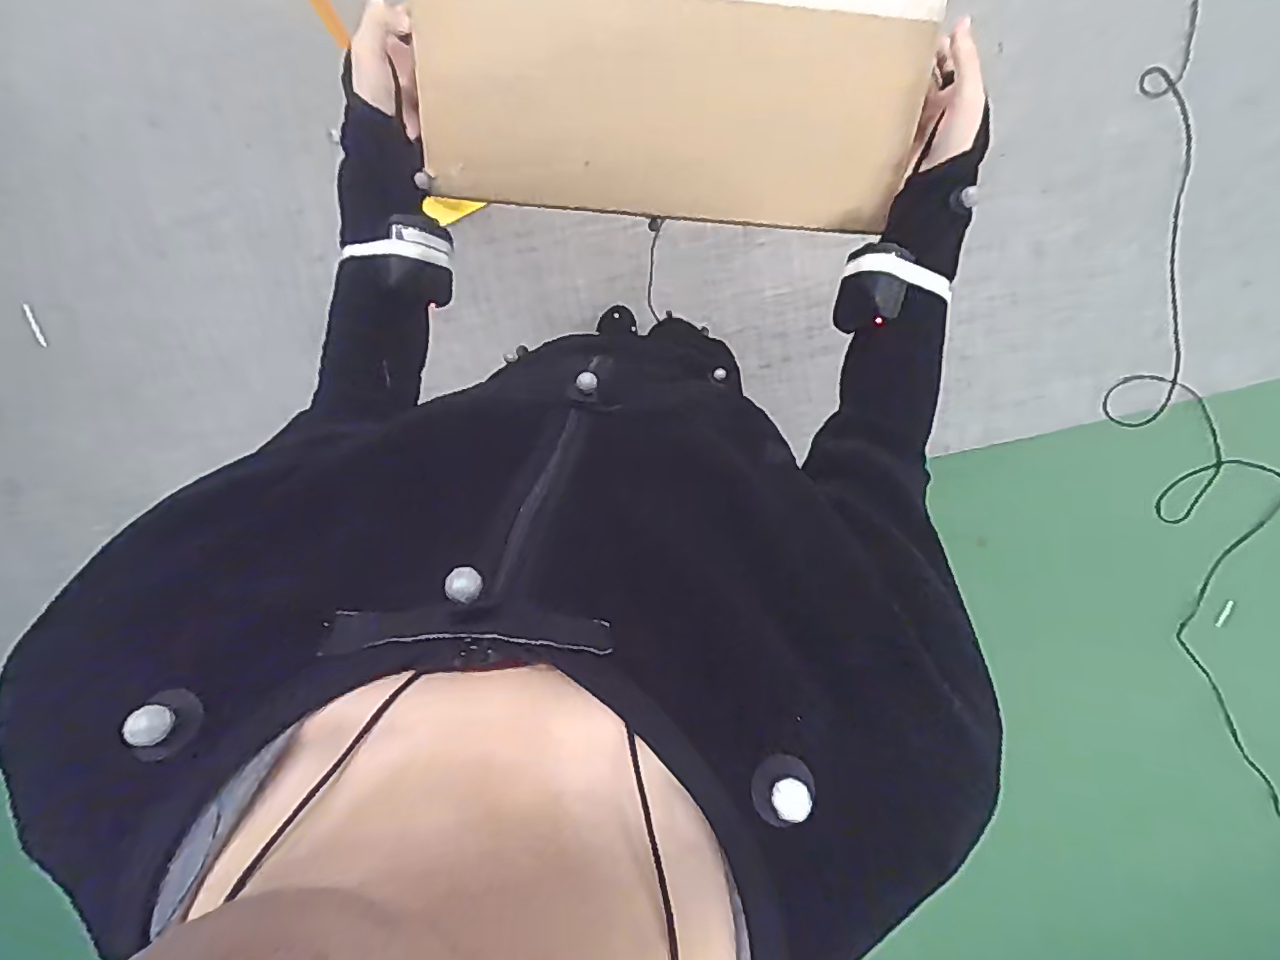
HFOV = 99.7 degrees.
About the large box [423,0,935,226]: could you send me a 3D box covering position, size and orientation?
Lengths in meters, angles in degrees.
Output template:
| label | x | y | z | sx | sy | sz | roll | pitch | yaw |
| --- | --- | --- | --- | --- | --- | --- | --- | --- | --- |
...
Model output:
| label | x | y | z | sx | sy | sz | roll | pitch | yaw |
| --- | --- | --- | --- | --- | --- | --- | --- | --- | --- |
| large box | 0.032 | -0.446 | 0.545 | 0.408 | 0.320 | 0.320 | 4 | 117 | -2 |
